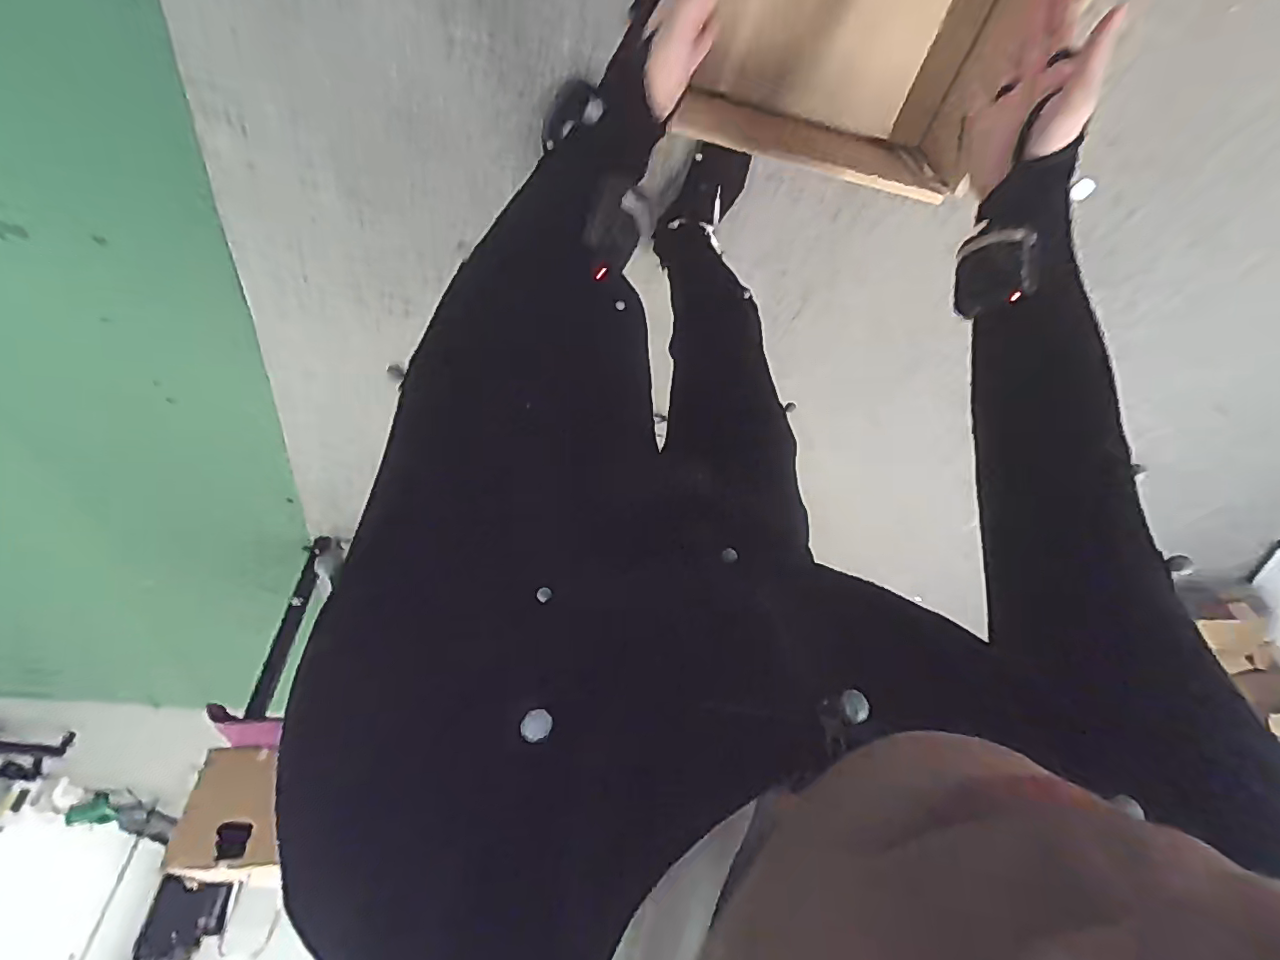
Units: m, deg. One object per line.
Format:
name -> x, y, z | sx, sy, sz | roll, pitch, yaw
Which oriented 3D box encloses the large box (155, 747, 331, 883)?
large box -> -1.221, 1.075, 1.726 | 0.320, 0.320, 0.408 | 9, 138, -16
